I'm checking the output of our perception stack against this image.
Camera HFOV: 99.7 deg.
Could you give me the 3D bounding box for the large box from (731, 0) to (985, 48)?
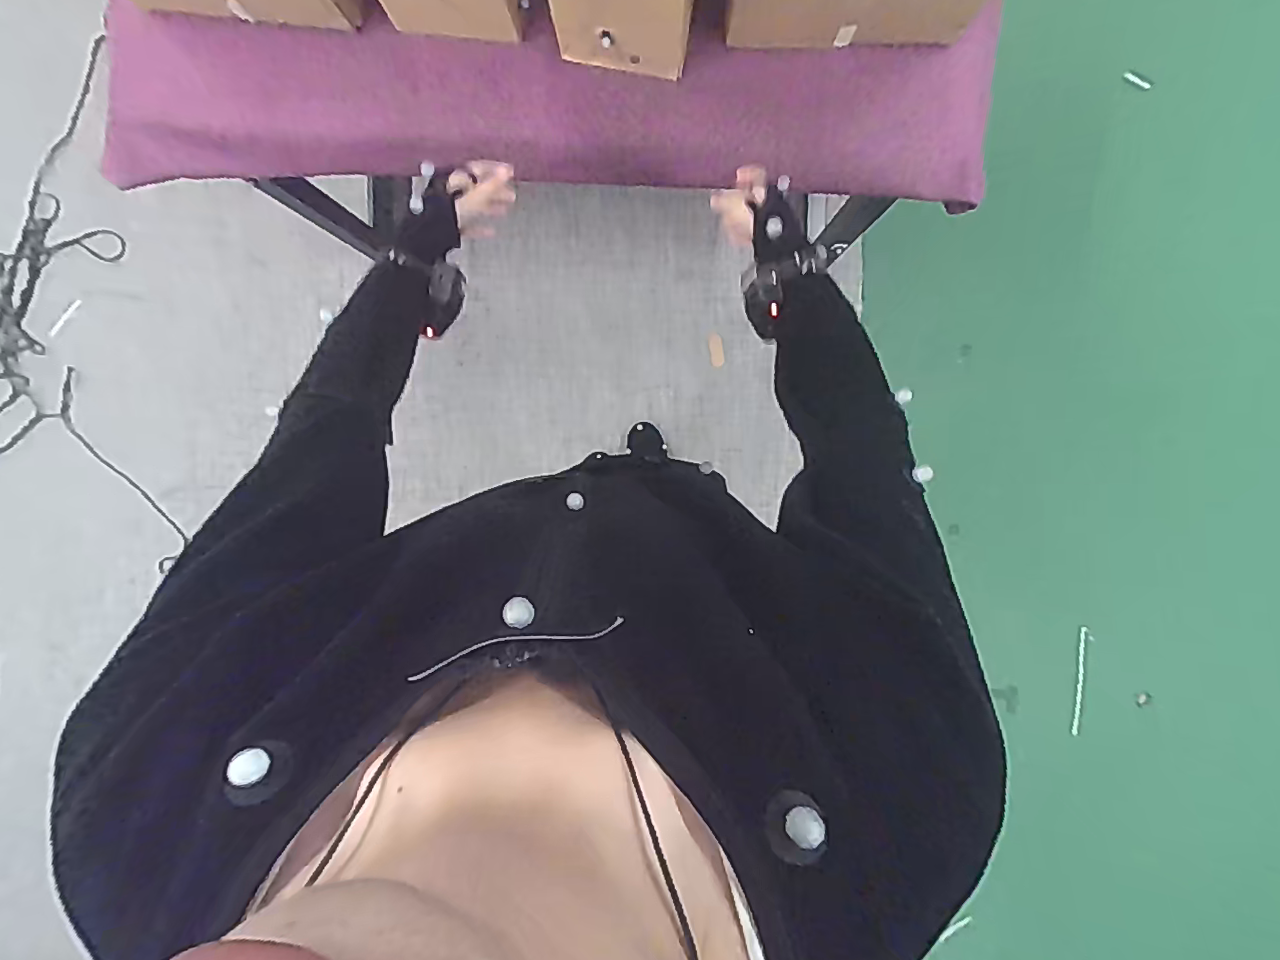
[{"bbox_3d":[0.269,-0.771,0.565,0.320,0.320,0.408,1,95,4],"label":"large box"}]
